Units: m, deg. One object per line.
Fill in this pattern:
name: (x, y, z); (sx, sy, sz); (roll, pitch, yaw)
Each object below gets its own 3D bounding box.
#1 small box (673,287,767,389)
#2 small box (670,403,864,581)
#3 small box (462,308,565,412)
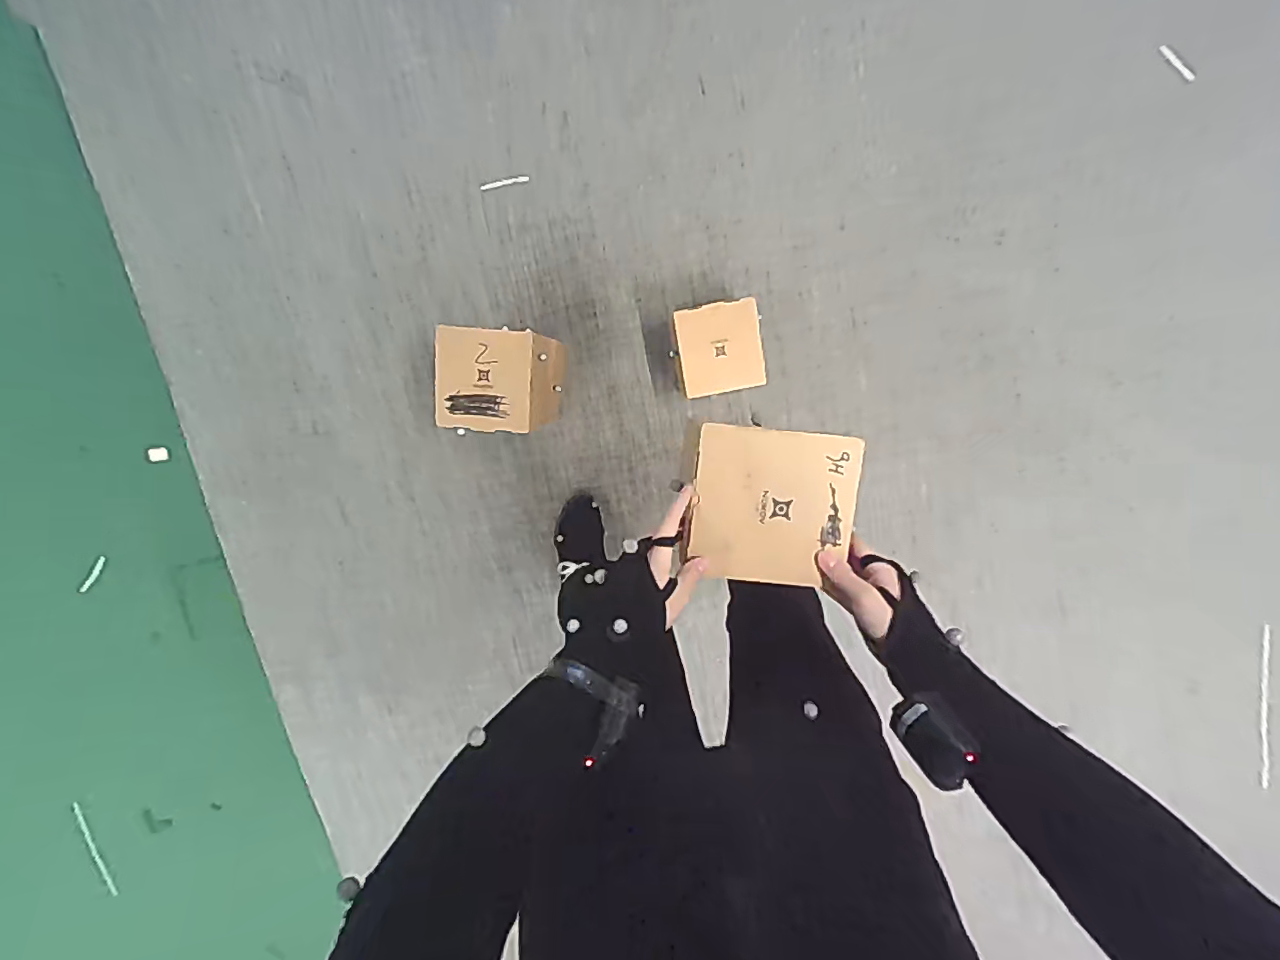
small box: (0.161, -0.292, 1.129); (0.168, 0.176, 0.179); (-8, 102, 3)
small box: (0.132, 0.005, 0.632); (0.179, 0.176, 0.168); (7, 97, 0)
small box: (-0.260, -0.252, 1.144); (0.168, 0.176, 0.179); (11, 102, -2)
